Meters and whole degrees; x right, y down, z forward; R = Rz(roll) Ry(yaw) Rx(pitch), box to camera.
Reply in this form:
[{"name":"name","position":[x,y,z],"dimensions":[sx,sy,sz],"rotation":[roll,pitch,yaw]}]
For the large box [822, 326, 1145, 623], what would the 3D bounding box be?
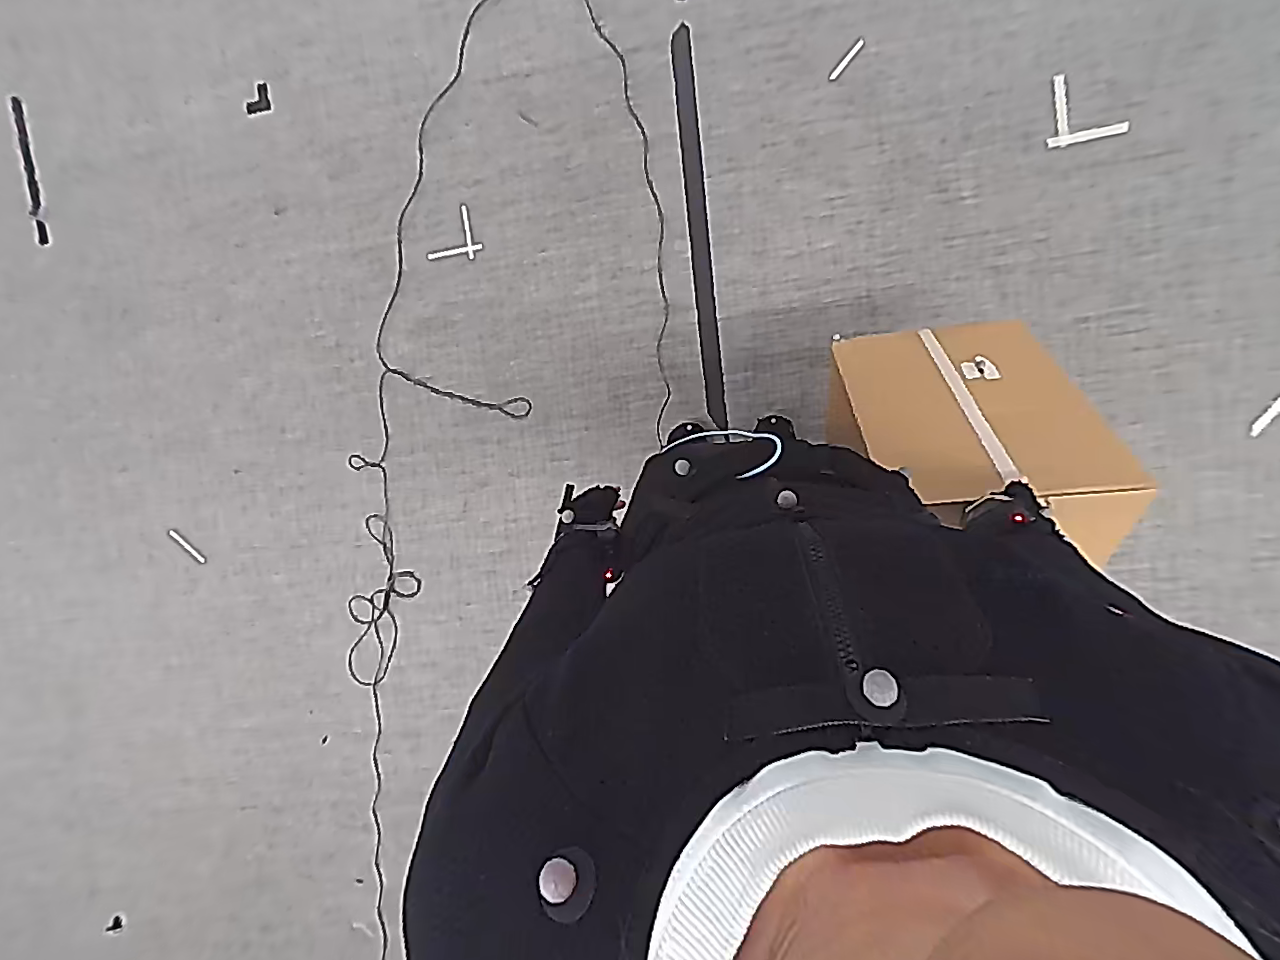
[{"name":"large box","position":[0.518,-0.012,0.937],"dimensions":[0.320,0.408,0.320],"rotation":[-5,134,8]}]
